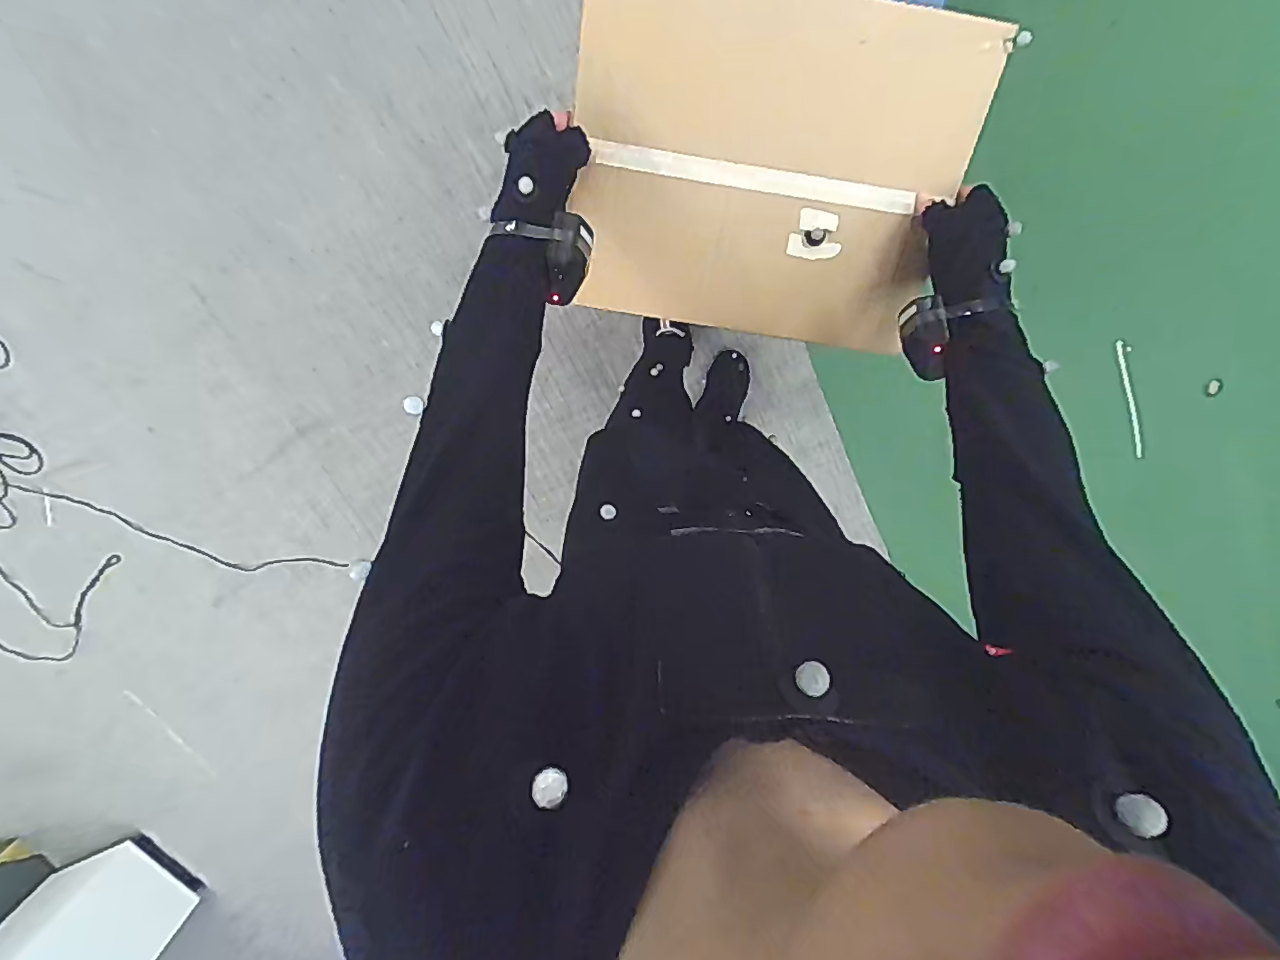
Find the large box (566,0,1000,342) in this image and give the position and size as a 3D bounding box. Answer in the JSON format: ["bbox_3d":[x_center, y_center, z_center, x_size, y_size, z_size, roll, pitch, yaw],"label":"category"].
[{"bbox_3d":[0.128,-0.387,0.702,0.408,0.320,0.320,8,116,-3],"label":"large box"}]
